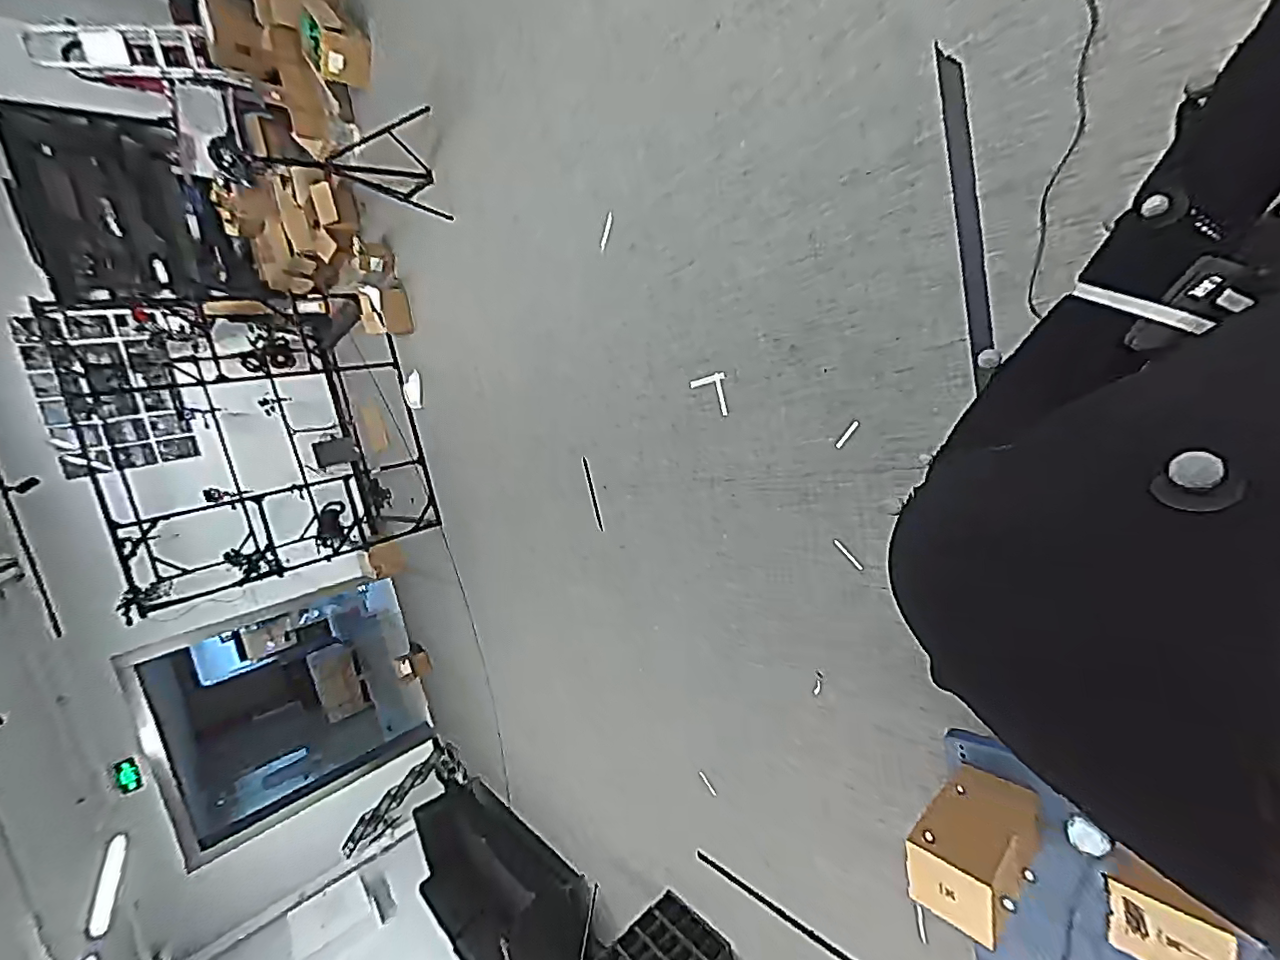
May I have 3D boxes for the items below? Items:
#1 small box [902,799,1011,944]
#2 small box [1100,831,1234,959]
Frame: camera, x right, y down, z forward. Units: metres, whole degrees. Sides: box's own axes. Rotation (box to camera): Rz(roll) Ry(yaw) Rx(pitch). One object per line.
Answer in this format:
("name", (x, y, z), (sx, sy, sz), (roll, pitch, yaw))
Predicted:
("small box", (0.730, 0.883, 1.243), (0.179, 0.176, 0.168), (6, 110, 50))
("small box", (1.062, 0.859, 1.092), (0.179, 0.176, 0.168), (4, 108, 49))
